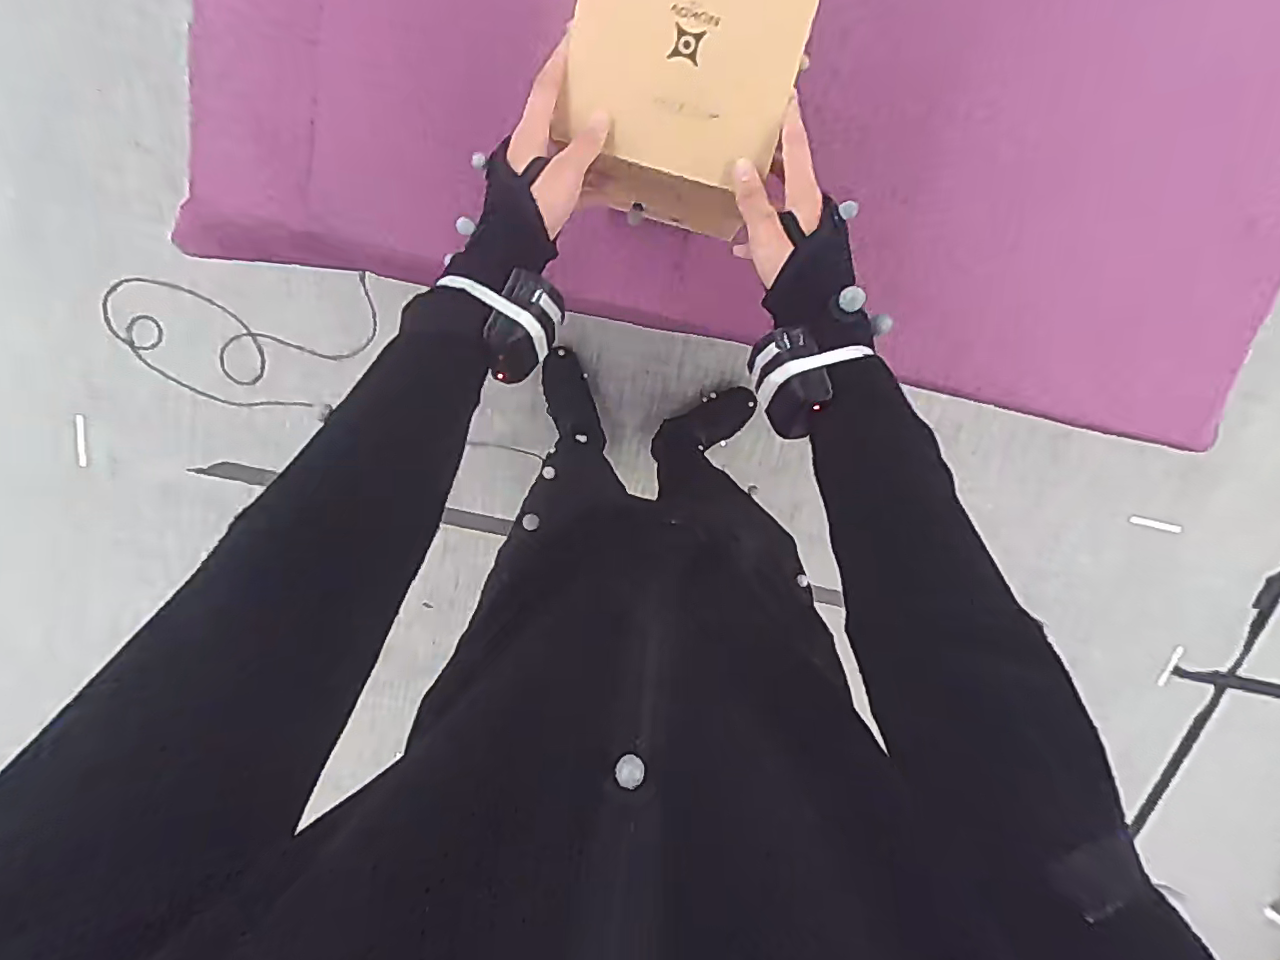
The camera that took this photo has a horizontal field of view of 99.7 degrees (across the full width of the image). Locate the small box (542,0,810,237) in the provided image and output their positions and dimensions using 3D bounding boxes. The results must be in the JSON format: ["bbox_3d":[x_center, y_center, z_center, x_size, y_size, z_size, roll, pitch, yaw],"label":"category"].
[{"bbox_3d":[0.029,-0.331,0.457,0.168,0.176,0.179,15,103,-1],"label":"small box"}]
